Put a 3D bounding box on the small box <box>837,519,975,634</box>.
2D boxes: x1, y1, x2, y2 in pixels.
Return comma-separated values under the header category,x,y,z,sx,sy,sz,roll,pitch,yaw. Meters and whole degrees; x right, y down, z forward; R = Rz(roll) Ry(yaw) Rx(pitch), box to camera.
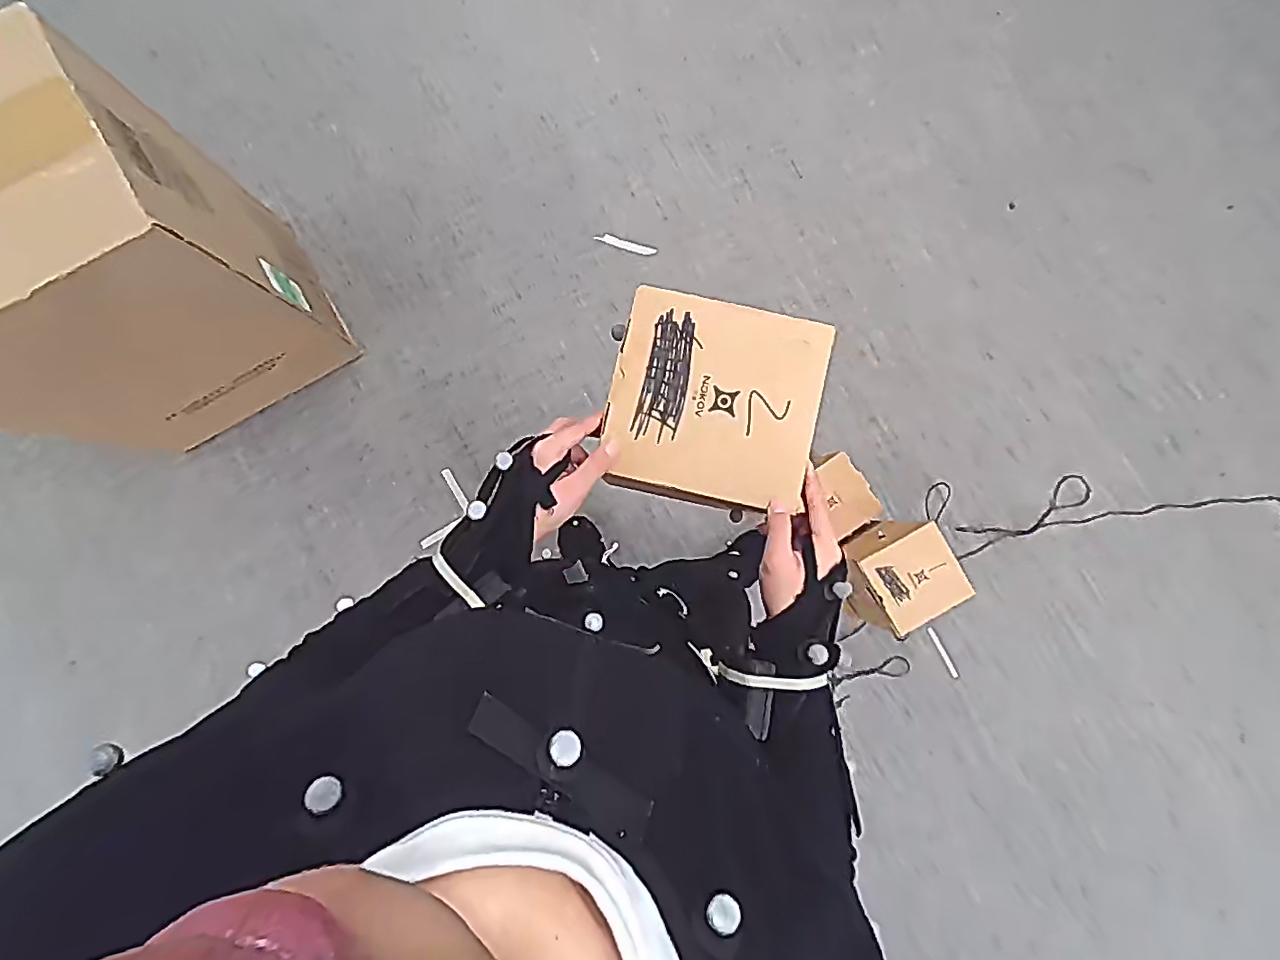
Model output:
category,x,y,z,sx,sy,sz,roll,pitch,yaw
small box,0.535,0.193,1.122,0.179,0.176,0.168,-28,88,-3
